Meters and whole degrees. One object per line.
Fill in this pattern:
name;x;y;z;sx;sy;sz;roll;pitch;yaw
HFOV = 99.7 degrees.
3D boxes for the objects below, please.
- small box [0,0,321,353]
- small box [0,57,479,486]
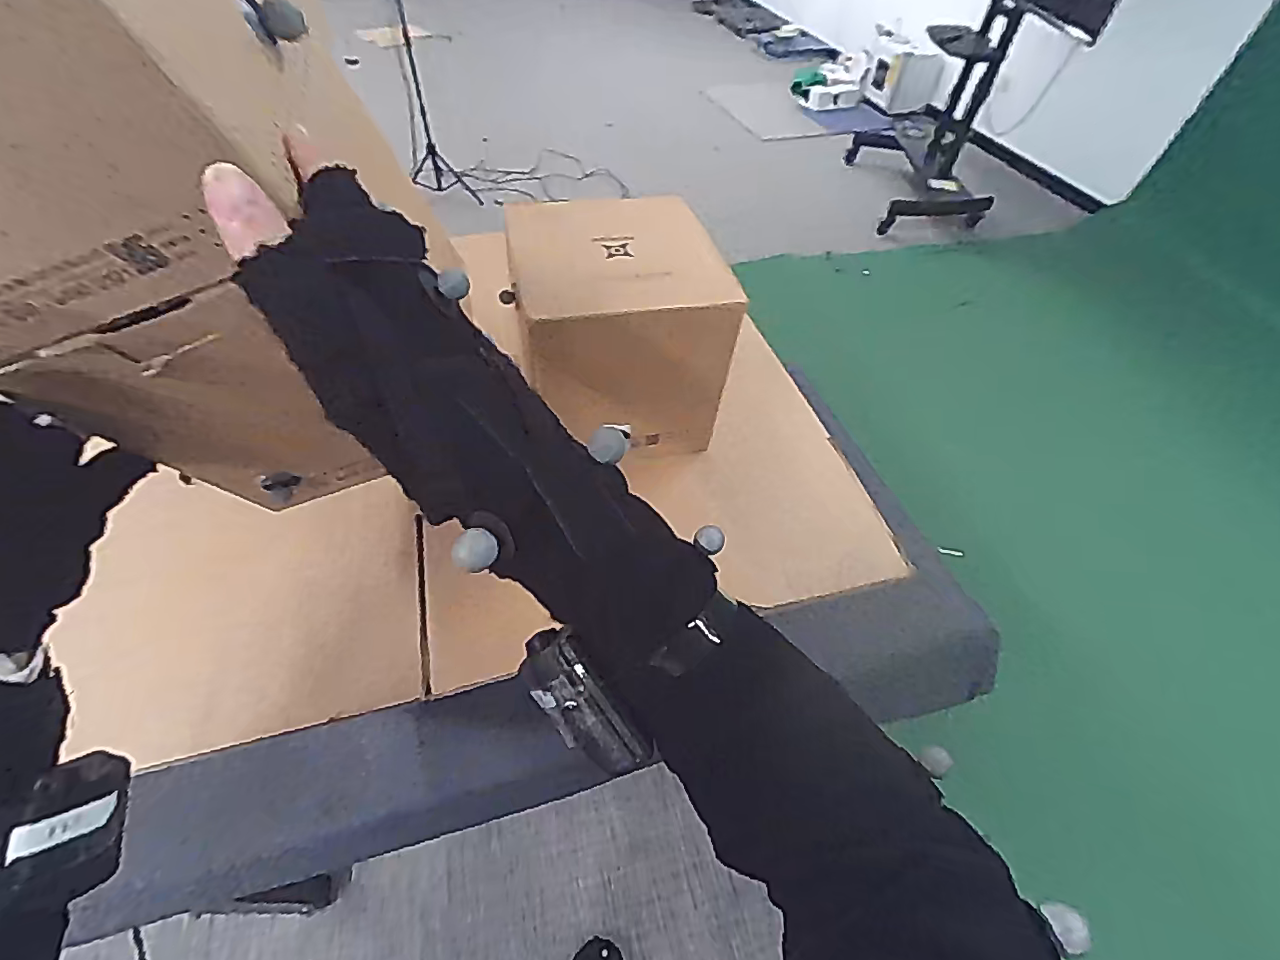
small box;-0.242;-0.178;0.188;0.168;0.176;0.179;-17;64;5
small box;-0.216;-0.111;0.335;0.168;0.176;0.179;-18;65;4
